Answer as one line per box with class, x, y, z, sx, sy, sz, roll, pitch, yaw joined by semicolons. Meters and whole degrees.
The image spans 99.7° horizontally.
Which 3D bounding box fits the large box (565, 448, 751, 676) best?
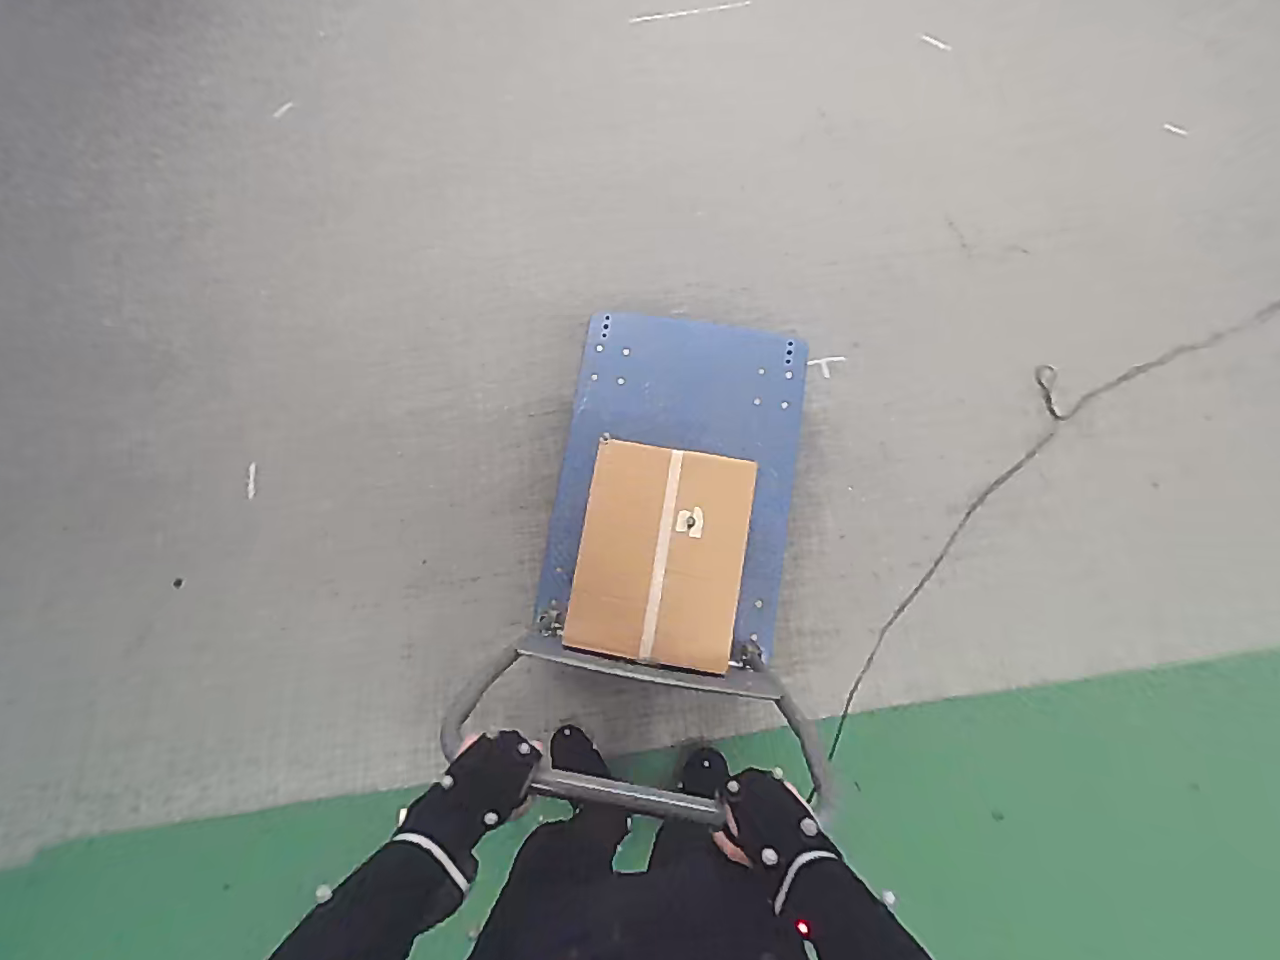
large box;0.046;0.178;1.195;0.320;0.320;0.408;10;81;4
